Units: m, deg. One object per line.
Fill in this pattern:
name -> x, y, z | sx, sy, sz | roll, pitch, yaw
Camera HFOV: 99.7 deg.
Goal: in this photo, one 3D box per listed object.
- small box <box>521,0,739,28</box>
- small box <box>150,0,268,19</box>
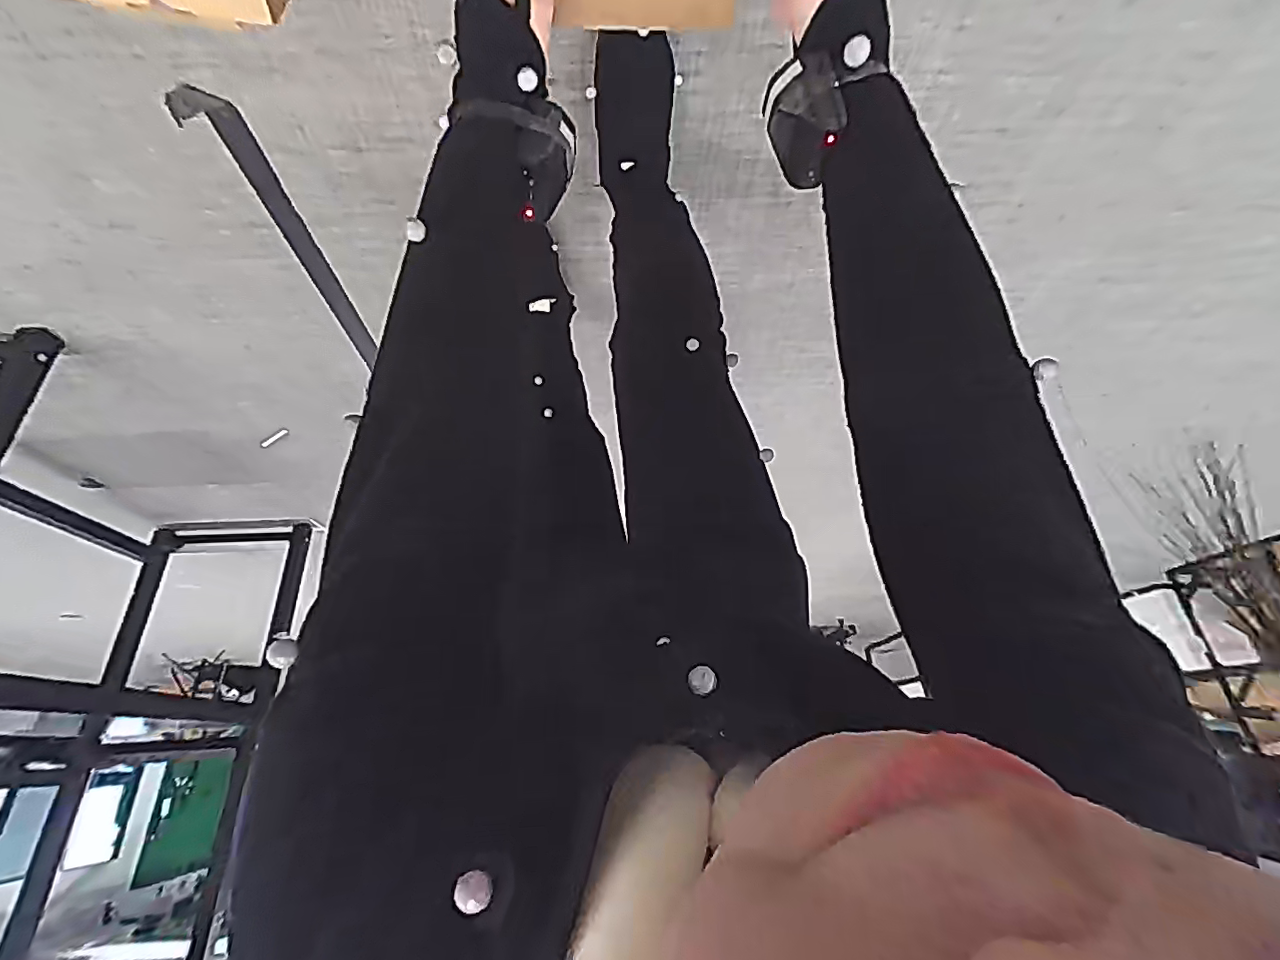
small box -> -0.009, -0.481, 0.404 | 0.179, 0.176, 0.168 | -2, 153, -4
small box -> -0.358, -0.472, 0.367 | 0.168, 0.176, 0.179 | 1, 153, -10
